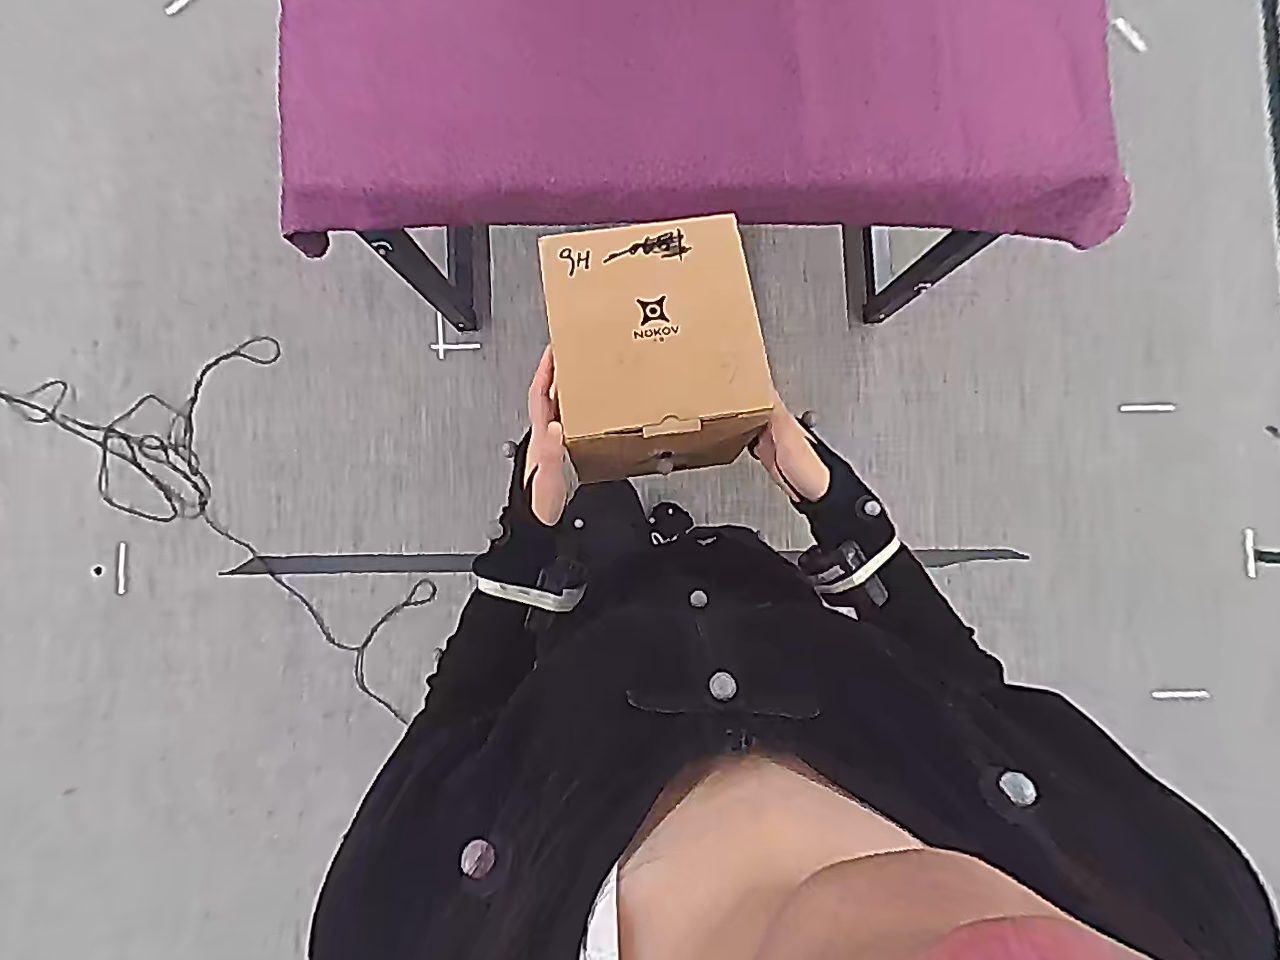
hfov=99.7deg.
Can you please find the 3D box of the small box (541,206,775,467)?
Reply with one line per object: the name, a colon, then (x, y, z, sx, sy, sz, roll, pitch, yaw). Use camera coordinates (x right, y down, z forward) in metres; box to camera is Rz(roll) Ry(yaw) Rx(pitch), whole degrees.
small box: (0.012, -0.114, 0.504, 0.168, 0.176, 0.179, -9, 80, -2)
